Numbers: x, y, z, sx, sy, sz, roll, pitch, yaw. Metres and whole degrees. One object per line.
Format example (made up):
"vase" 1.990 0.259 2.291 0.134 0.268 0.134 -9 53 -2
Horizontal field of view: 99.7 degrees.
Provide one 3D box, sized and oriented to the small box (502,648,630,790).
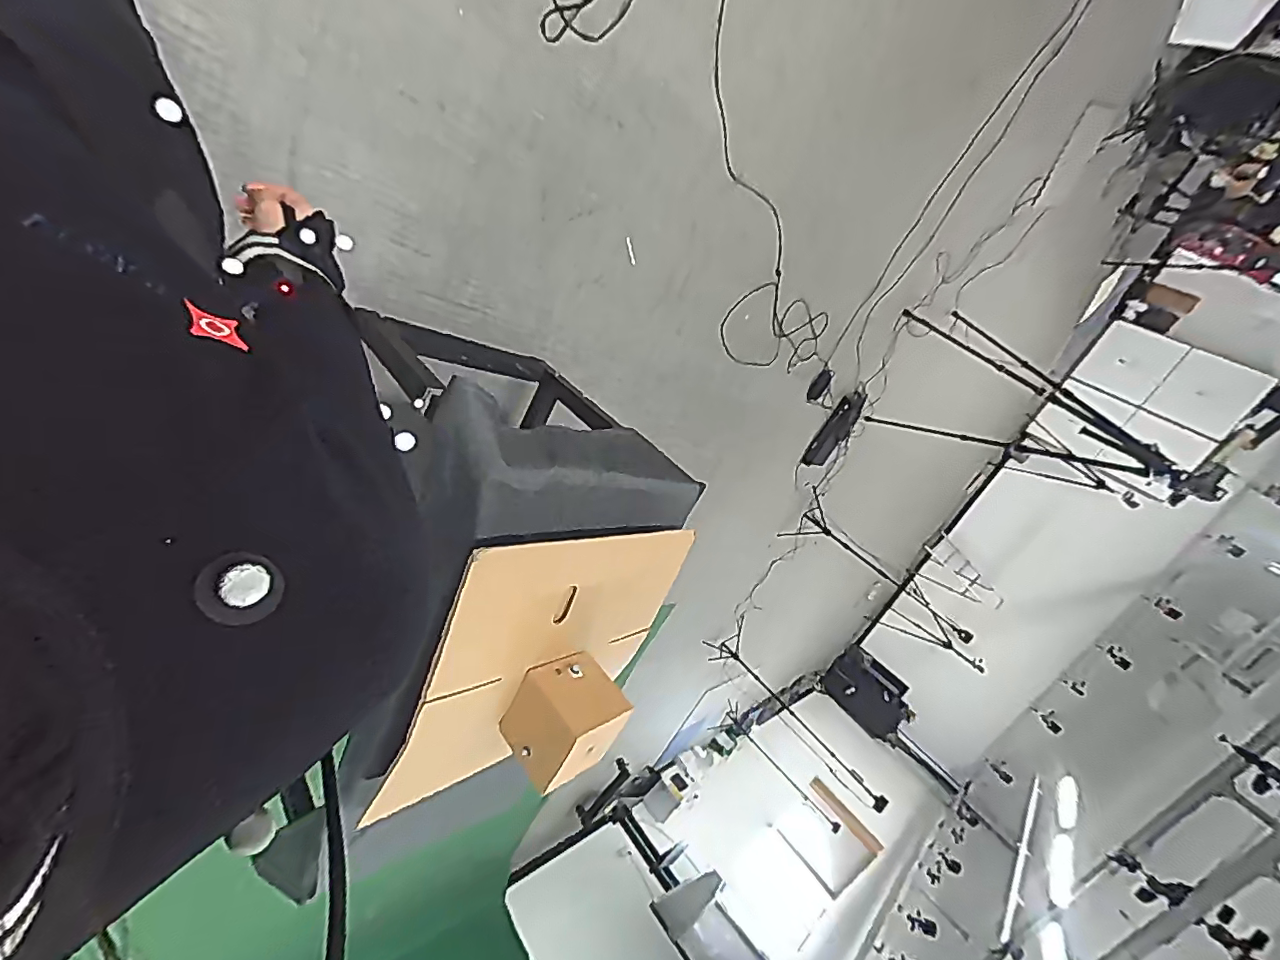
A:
"small box" -0.158 0.478 1.107 0.168 0.176 0.179 -2 126 -52
